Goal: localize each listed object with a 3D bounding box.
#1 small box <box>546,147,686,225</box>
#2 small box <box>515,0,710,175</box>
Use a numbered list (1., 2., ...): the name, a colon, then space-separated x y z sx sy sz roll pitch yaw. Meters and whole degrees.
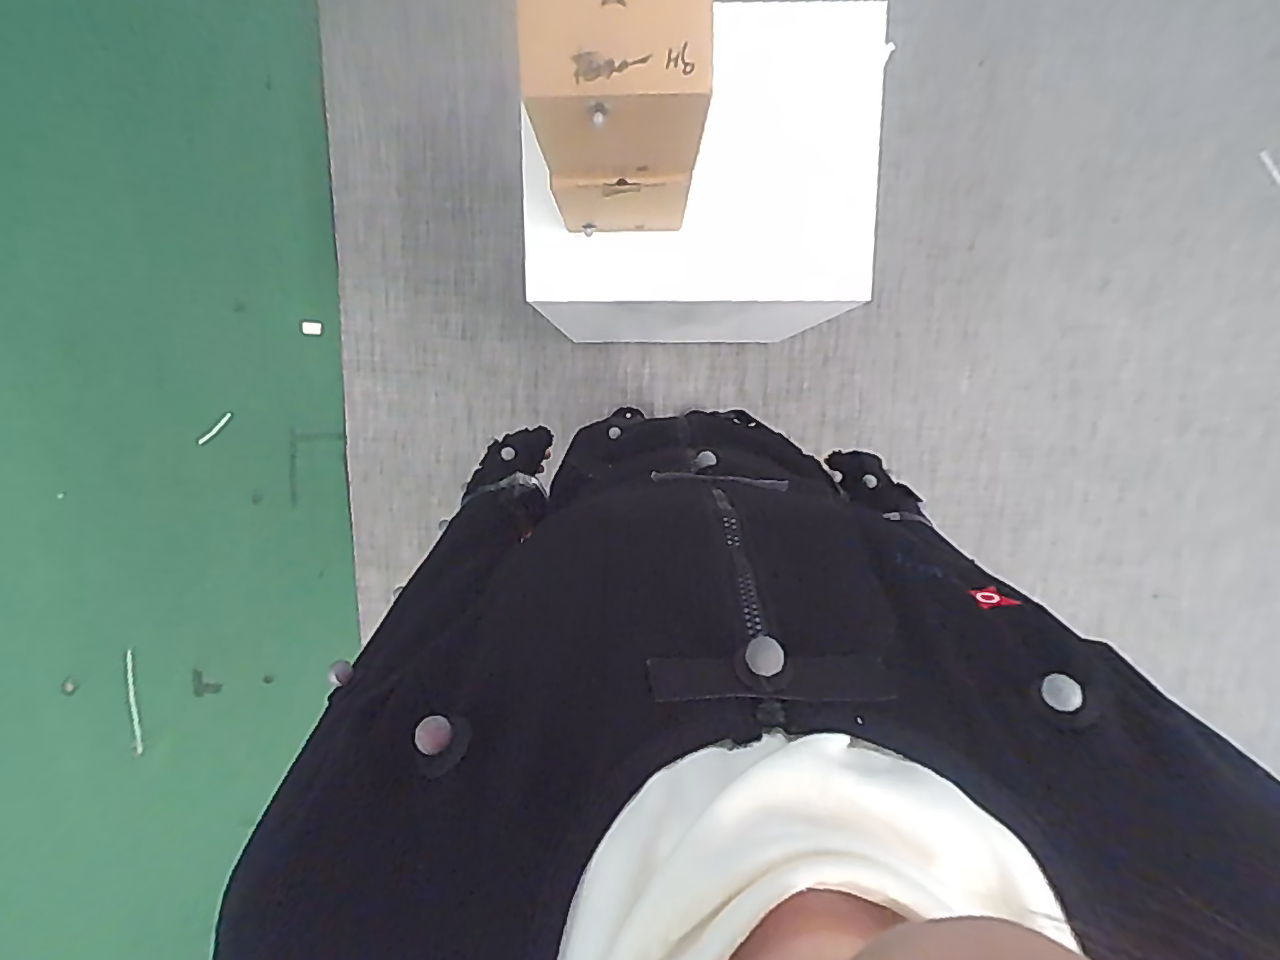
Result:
1. small box: -0.026 -0.440 0.693 0.168 0.176 0.179 -1 98 0
2. small box: -0.024 -0.427 0.530 0.168 0.176 0.179 -1 97 1
